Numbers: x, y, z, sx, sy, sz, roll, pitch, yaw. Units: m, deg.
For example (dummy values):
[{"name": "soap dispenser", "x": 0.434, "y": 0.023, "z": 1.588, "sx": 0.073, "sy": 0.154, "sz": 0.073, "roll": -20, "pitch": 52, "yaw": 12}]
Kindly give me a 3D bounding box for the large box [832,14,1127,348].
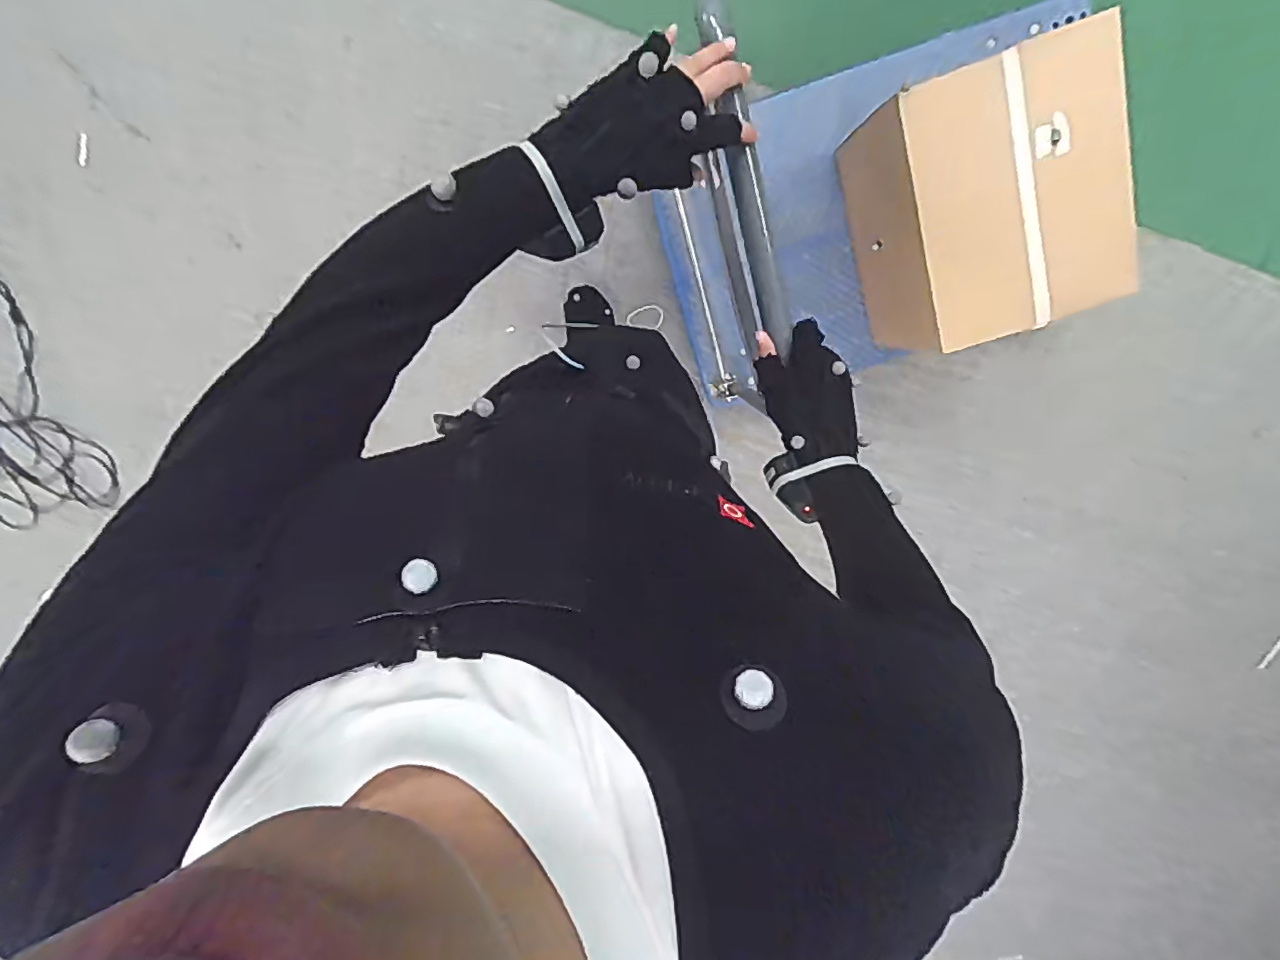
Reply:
[{"name": "large box", "x": 0.587, "y": -0.488, "z": 0.987, "sx": 0.320, "sy": 0.320, "sz": 0.408, "roll": -18, "pitch": 105, "yaw": 6}]
